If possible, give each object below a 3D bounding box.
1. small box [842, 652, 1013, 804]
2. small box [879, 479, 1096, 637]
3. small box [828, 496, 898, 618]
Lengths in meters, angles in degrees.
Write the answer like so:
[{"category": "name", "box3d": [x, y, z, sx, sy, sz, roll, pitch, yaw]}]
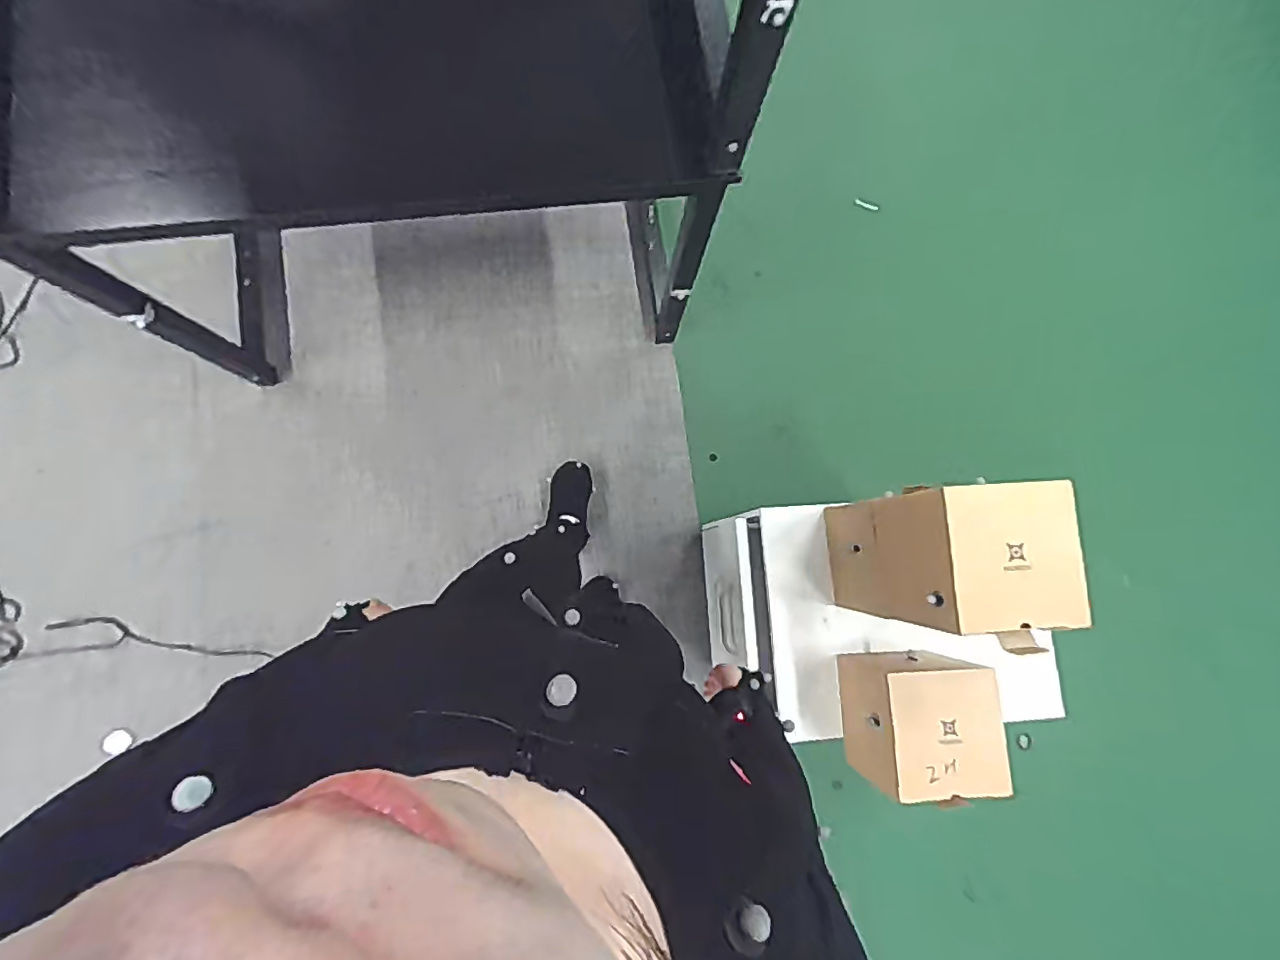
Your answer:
[{"category": "small box", "box3d": [0.425, 0.365, 0.829, 0.168, 0.176, 0.179, -1, 82, -4]}, {"category": "small box", "box3d": [0.432, 0.097, 0.703, 0.168, 0.176, 0.179, -3, 85, -5]}, {"category": "small box", "box3d": [0.418, 0.117, 0.865, 0.168, 0.176, 0.179, -4, 83, -5]}]
